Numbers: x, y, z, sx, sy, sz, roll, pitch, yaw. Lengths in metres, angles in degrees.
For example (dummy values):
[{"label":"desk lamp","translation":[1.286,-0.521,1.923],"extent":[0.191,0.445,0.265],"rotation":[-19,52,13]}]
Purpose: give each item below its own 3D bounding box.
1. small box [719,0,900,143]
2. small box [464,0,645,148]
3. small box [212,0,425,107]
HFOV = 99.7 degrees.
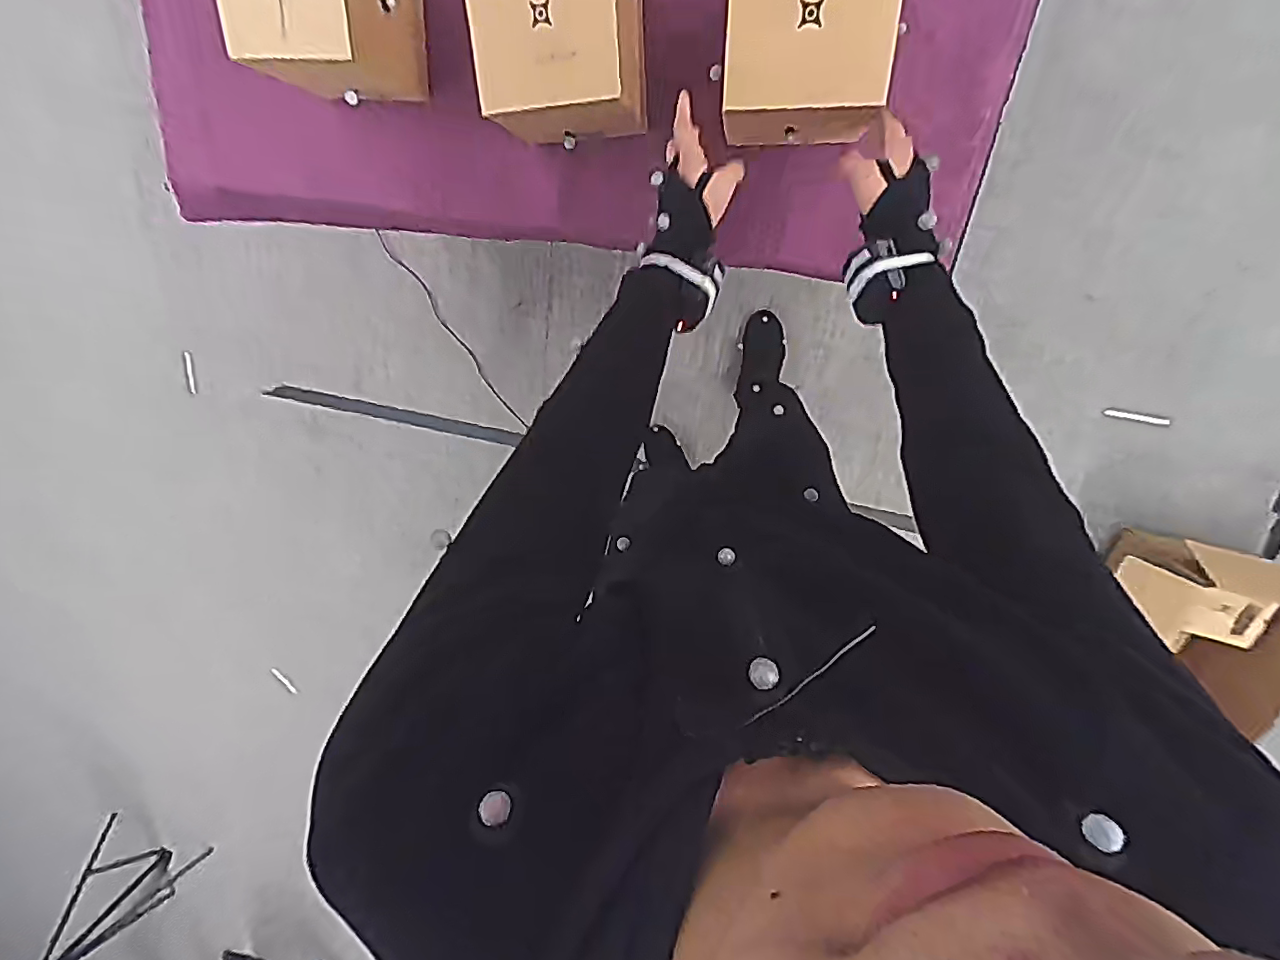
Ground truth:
[{"label":"small box","translation":[0.180,-0.483,0.593],"extent":[0.168,0.176,0.179],"rotation":[5,111,9]},{"label":"small box","translation":[-0.091,-0.515,0.636],"extent":[0.168,0.176,0.179],"rotation":[1,111,12]},{"label":"small box","translation":[-0.388,-0.588,0.665],"extent":[0.168,0.176,0.179],"rotation":[7,112,9]}]
